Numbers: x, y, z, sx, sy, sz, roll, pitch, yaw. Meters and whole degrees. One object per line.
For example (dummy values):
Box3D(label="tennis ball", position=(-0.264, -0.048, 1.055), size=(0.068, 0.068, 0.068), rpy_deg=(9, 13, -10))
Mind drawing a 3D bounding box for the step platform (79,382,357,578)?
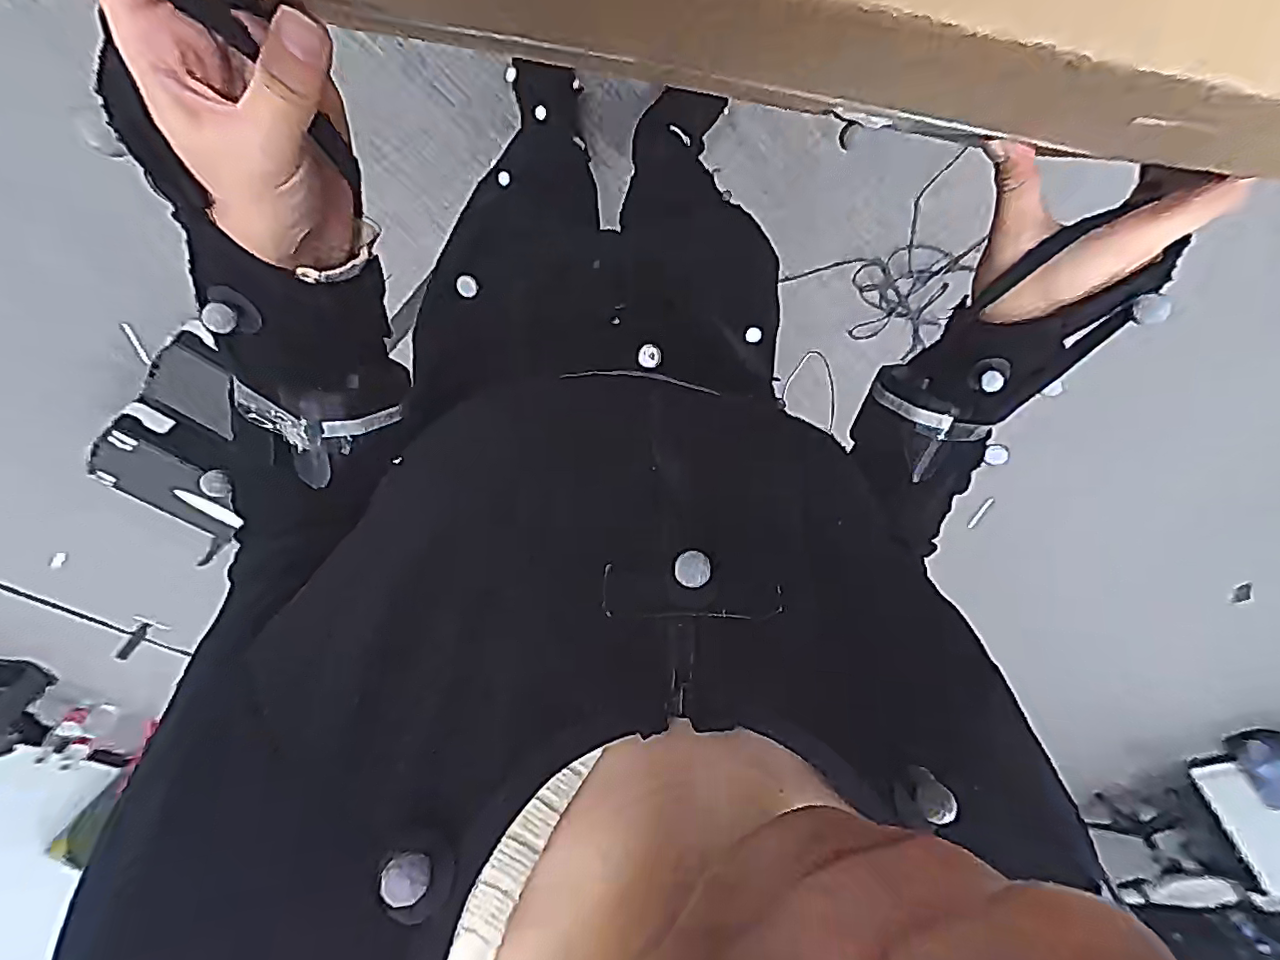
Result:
Box3D(label="step platform", position=(-1.257, 0.032, 1.662), size=(0.286, 0.204, 0.684), rpy_deg=(-28, 125, 26))

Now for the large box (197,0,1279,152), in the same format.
Box3D(label="large box", position=(0.052, -0.288, 0.128), size=(0.408, 0.320, 0.320), rpy_deg=(2, 125, -8))
